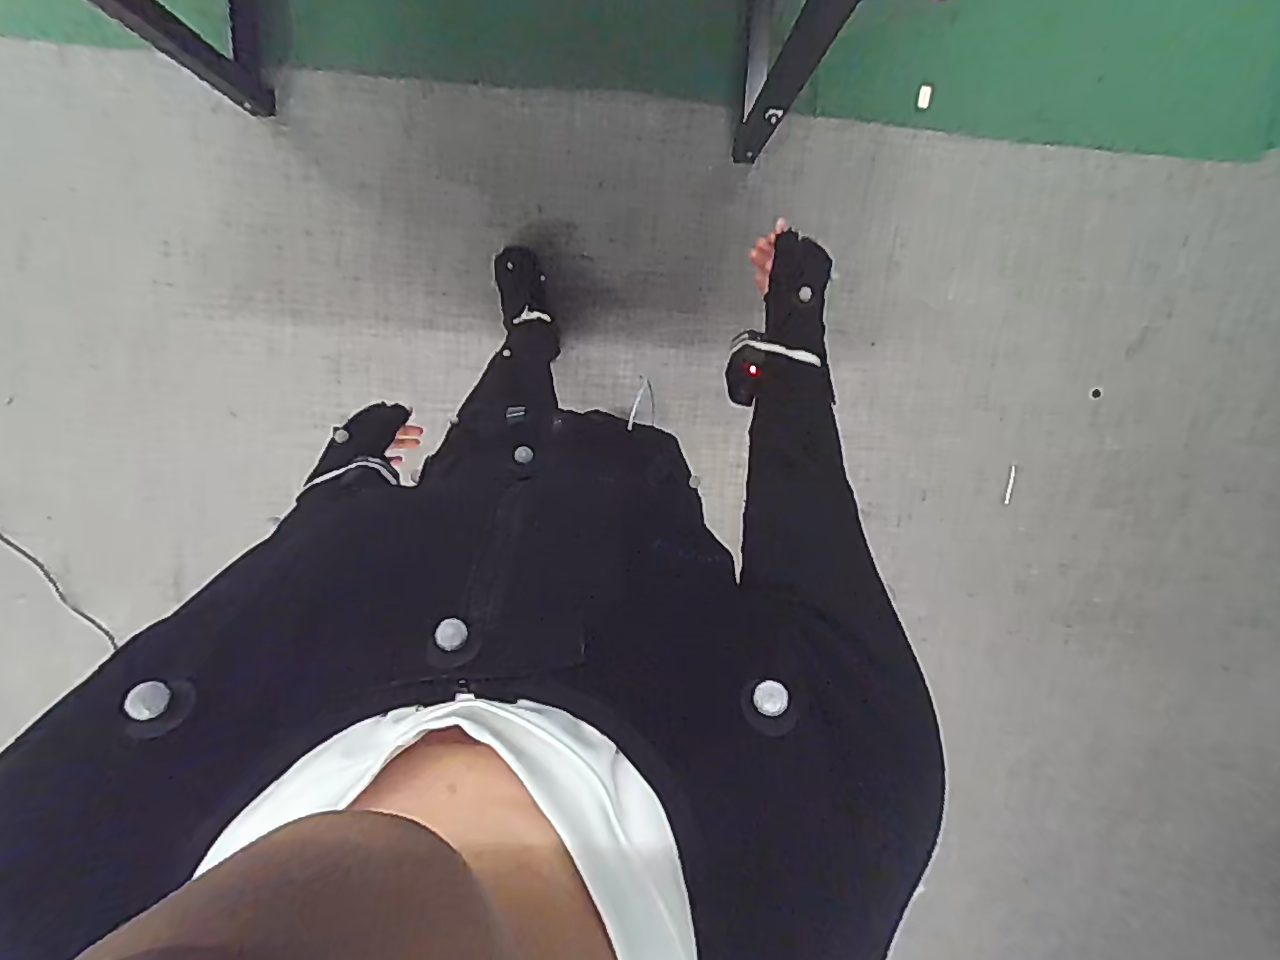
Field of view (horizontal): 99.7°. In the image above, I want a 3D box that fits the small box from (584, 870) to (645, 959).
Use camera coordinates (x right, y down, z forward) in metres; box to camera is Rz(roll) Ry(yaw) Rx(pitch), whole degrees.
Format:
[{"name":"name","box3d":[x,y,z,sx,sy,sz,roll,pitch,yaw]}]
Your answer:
[{"name":"small box","box3d":[-0.080,1.366,1.684,0.168,0.176,0.179,6,101,-6]}]
